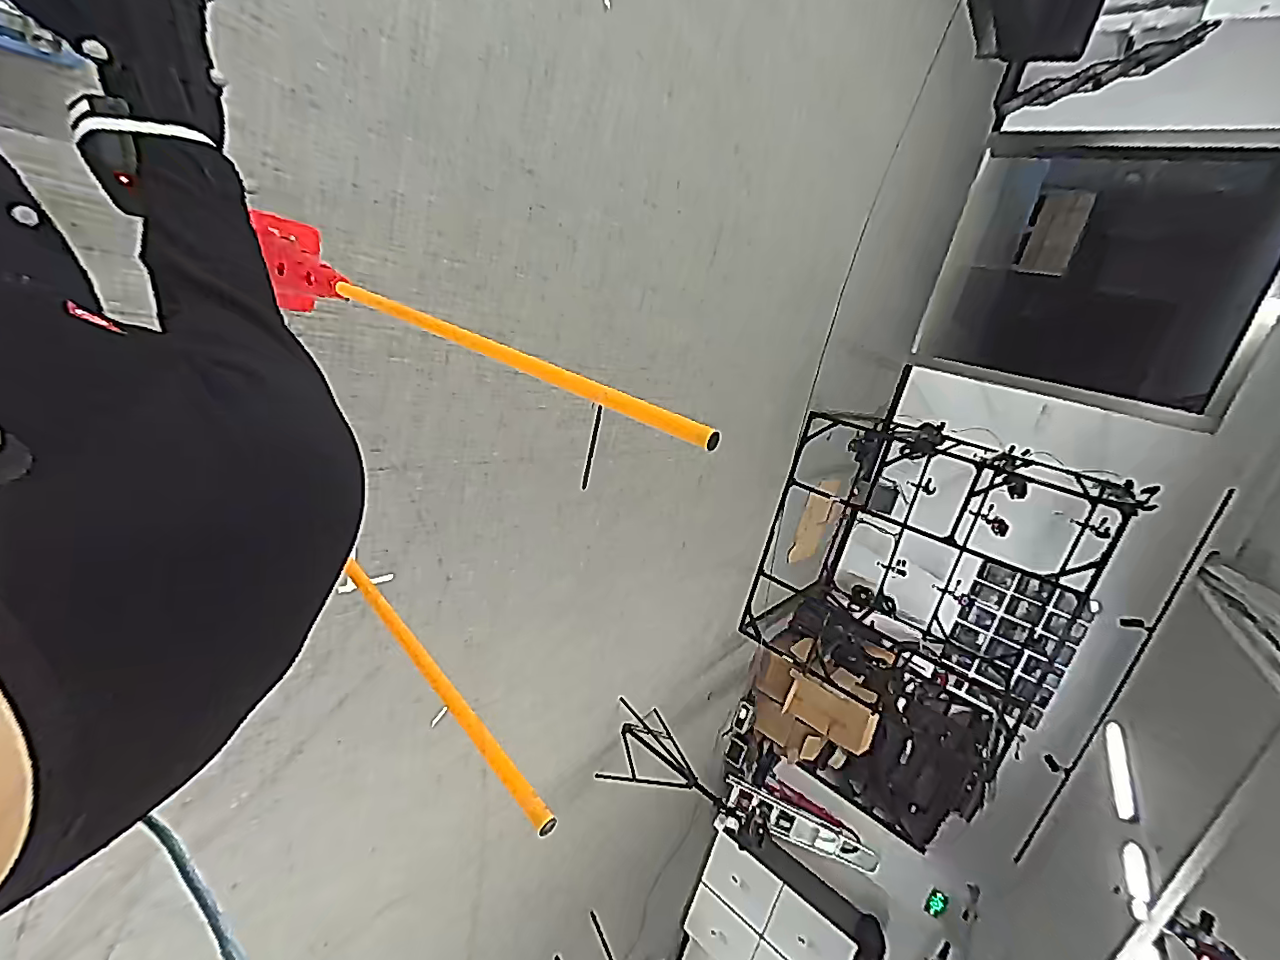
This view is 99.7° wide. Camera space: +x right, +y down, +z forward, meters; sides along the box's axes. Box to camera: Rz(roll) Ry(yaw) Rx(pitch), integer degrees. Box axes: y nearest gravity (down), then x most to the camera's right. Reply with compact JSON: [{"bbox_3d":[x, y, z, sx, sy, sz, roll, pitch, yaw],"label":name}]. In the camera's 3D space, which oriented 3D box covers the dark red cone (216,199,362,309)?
[{"bbox_3d":[-0.695,-0.439,1.117,0.201,0.394,0.202,-9,118,-55],"label":"dark red cone"}]
